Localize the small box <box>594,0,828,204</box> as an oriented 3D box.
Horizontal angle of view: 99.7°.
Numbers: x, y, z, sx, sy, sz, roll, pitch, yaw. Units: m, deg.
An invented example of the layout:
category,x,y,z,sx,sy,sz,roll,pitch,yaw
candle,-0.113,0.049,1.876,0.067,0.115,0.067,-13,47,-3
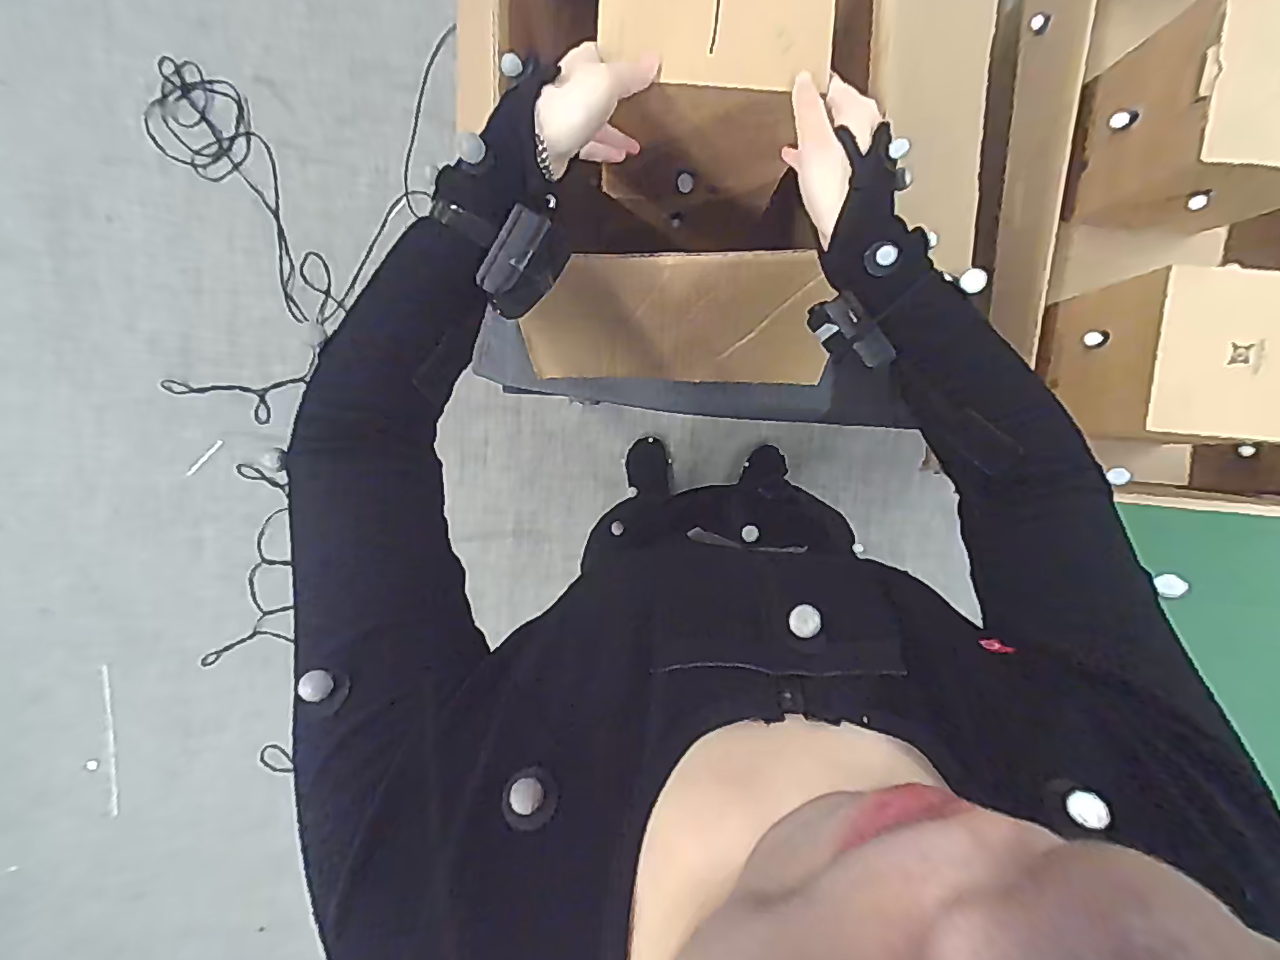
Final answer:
category,x,y,z,sx,sy,sz,roll,pitch,yaw
small box,0.051,-0.367,0.460,0.168,0.176,0.179,3,93,-2
